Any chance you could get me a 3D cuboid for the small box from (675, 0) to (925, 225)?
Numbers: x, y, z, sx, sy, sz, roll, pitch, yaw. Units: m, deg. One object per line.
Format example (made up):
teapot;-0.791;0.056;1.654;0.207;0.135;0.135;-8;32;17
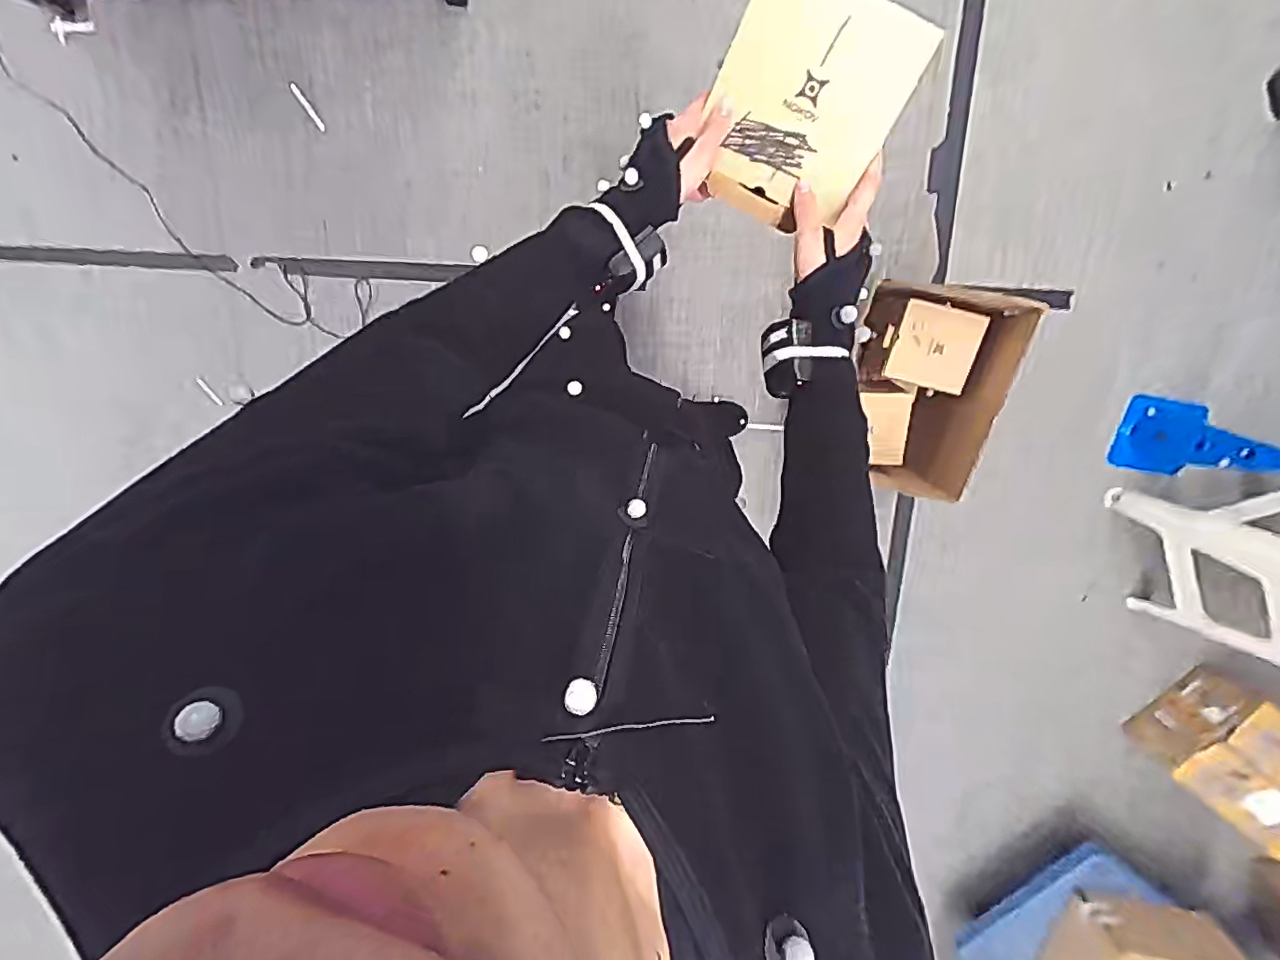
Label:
small box;0.154;-0.387;0.570;0.168;0.176;0.179;25;115;-2
